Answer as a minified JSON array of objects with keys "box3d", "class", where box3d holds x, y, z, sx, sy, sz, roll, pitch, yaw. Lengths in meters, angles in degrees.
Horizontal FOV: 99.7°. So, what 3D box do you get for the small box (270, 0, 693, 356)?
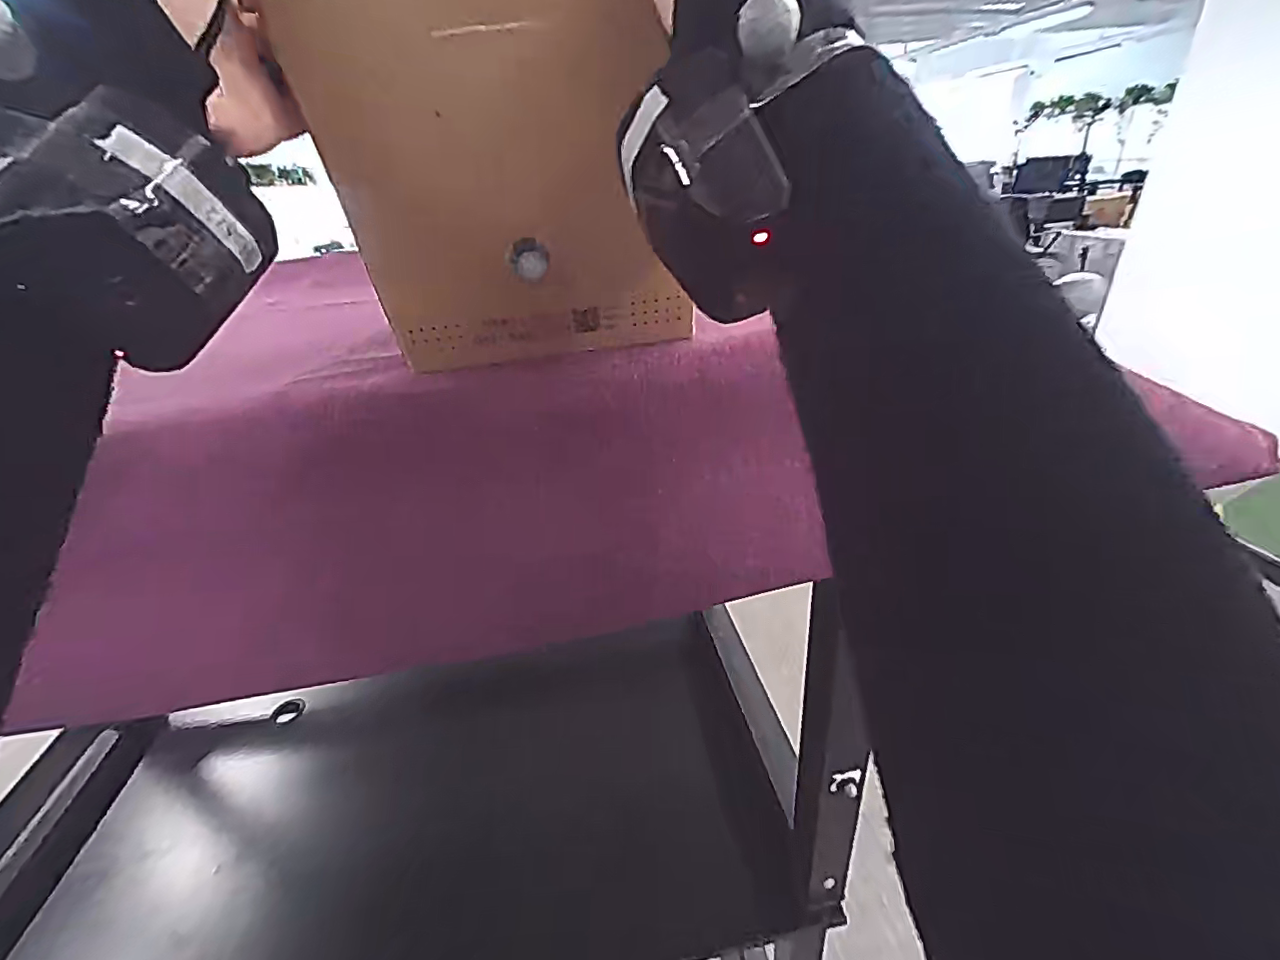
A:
[{"box3d":[-0.065,-0.191,0.311,0.168,0.176,0.179,-8,42,-2],"class":"small box"}]
